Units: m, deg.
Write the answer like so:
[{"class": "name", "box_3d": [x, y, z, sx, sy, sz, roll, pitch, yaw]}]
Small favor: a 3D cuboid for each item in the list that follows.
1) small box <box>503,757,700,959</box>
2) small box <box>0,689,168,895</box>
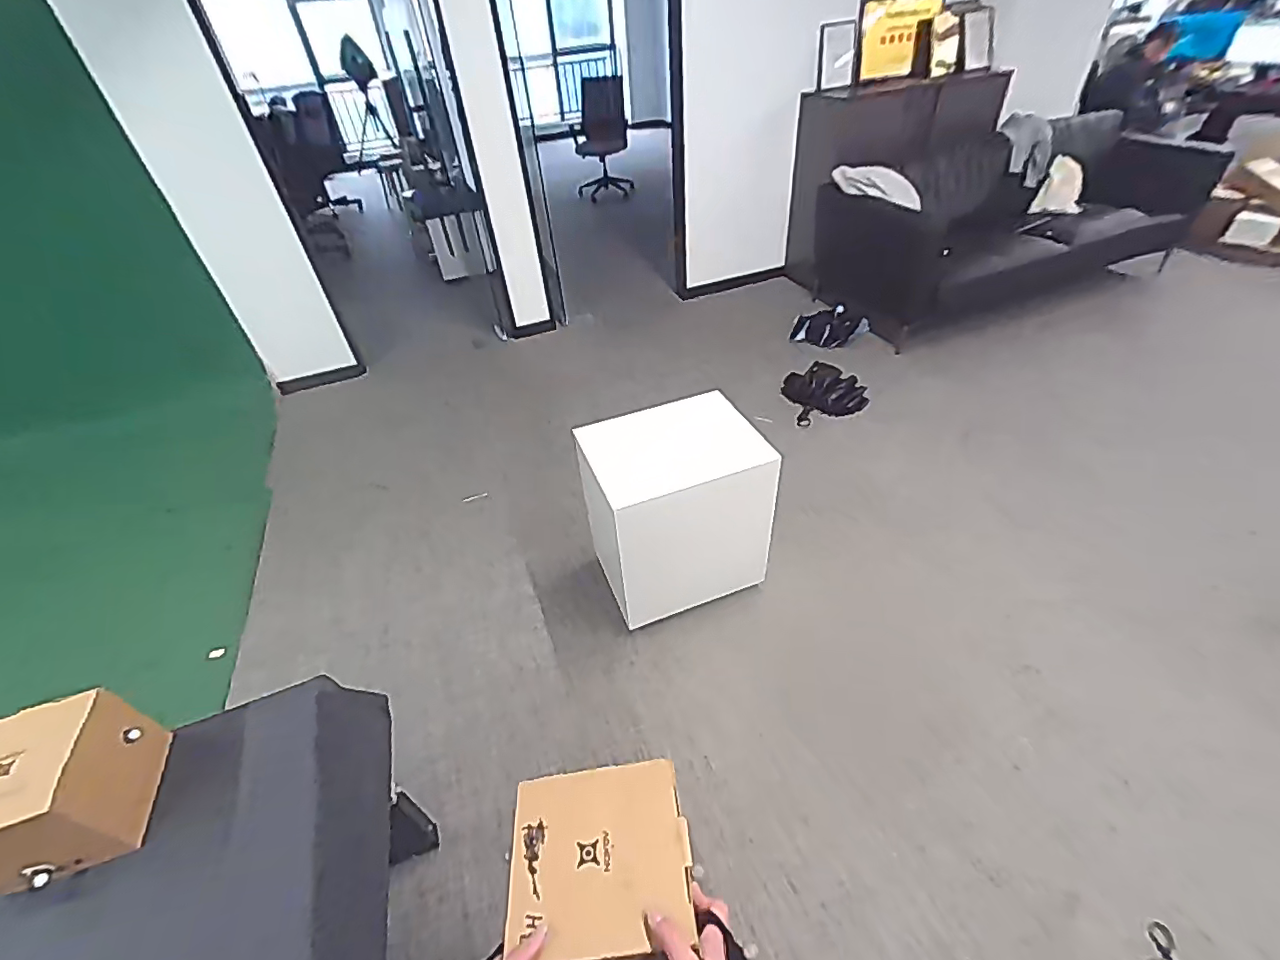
[{"class": "small box", "box_3d": [-0.033, 0.428, 0.580, 0.179, 0.176, 0.168, -8, 36, -1]}, {"class": "small box", "box_3d": [-0.819, 0.434, 0.757, 0.168, 0.176, 0.179, -18, 44, -12]}]
